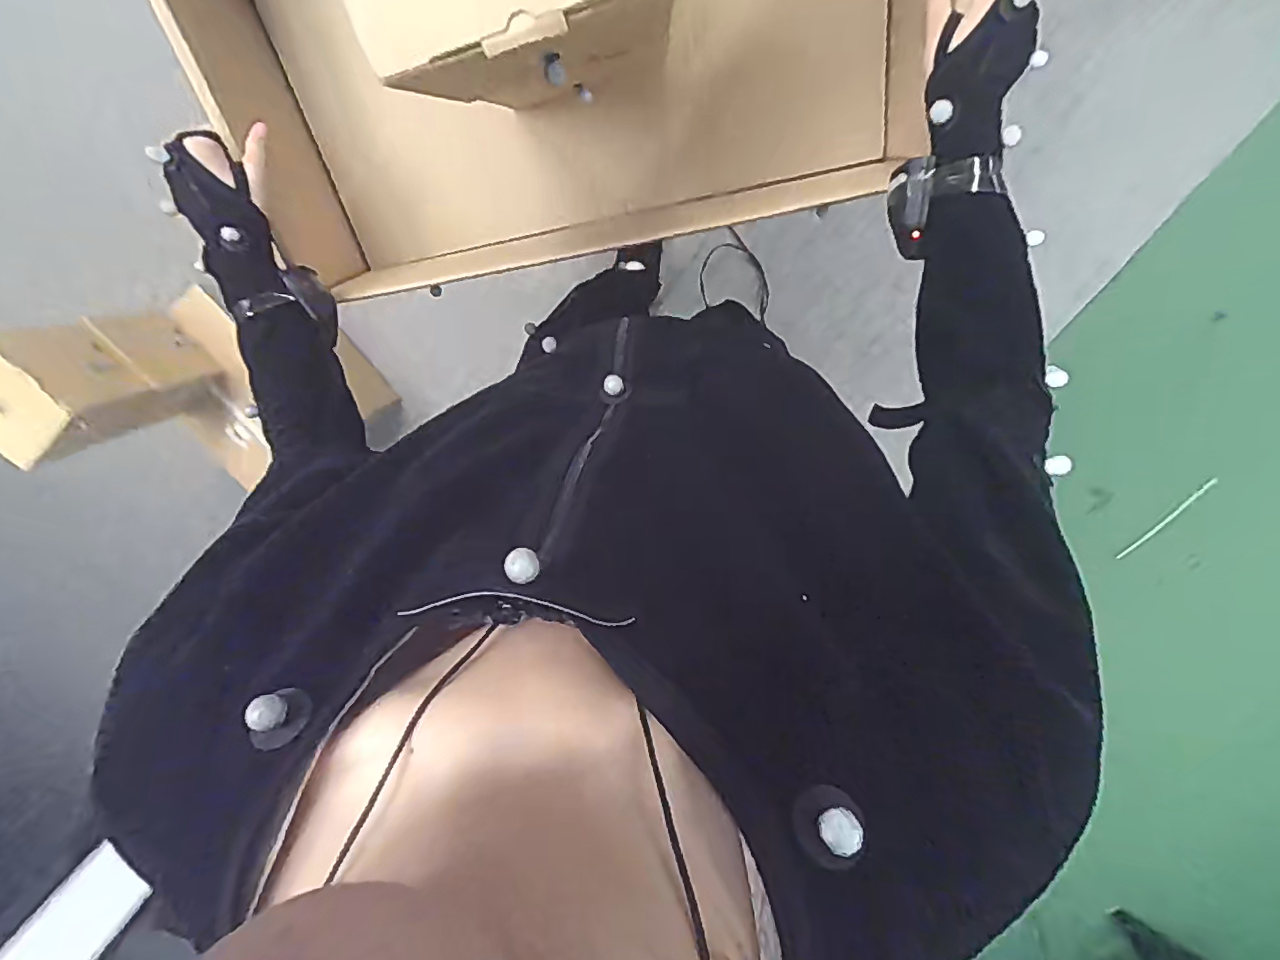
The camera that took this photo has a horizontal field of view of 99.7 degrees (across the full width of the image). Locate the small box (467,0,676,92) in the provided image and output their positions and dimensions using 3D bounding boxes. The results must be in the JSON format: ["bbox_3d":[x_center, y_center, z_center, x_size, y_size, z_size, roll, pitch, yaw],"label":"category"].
[{"bbox_3d":[-0.068,-0.434,0.427,0.168,0.176,0.179,-9,122,7],"label":"small box"}]

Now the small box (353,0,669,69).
[{"bbox_3d":[-0.075,-0.345,0.288,0.168,0.176,0.179,-12,122,8],"label":"small box"}]

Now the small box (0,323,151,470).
[{"bbox_3d":[-1.043,-0.154,0.962,0.179,0.176,0.168,-36,108,17],"label":"small box"}]
